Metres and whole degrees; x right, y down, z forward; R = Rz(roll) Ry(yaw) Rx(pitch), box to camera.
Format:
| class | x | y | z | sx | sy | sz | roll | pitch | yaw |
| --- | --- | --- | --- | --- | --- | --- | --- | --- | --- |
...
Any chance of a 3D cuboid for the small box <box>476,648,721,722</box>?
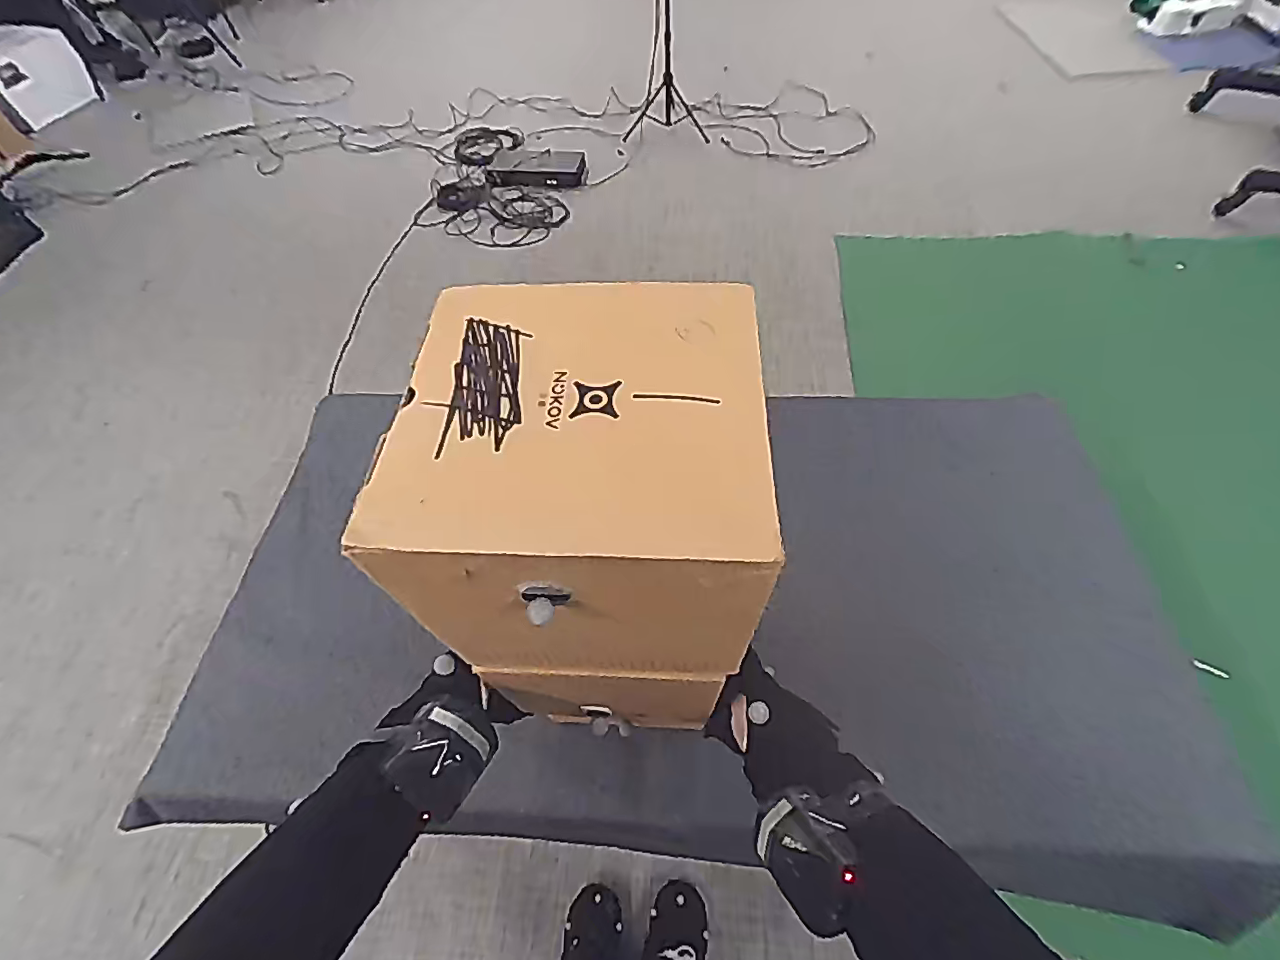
| class | x | y | z | sx | sy | sz | roll | pitch | yaw |
| --- | --- | --- | --- | --- | --- | --- | --- | --- | --- |
| small box | -0.021 | 0.095 | 0.464 | 0.168 | 0.176 | 0.179 | 1 | 57 | 4 |

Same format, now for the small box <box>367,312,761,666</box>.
| class | x | y | z | sx | sy | sz | roll | pitch | yaw |
| --- | --- | --- | --- | --- | --- | --- | --- | --- | --- |
| small box | -0.027 | 0.016 | 0.341 | 0.179 | 0.176 | 0.168 | 1 | 57 | 4 |
